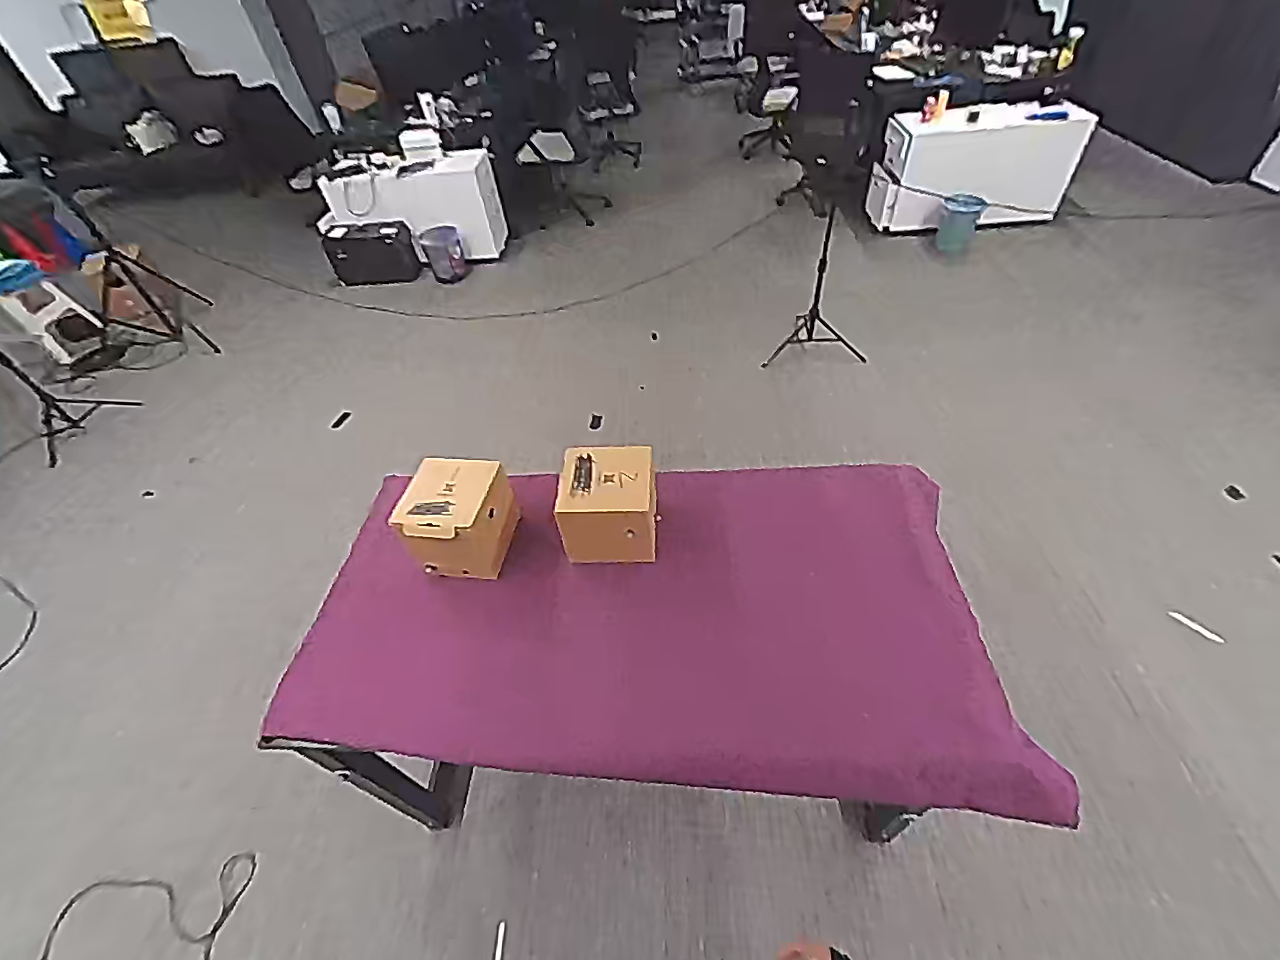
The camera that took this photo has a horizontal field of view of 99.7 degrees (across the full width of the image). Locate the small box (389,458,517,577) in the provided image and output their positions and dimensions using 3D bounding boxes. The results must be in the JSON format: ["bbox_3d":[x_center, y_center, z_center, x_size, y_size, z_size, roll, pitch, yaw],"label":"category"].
[{"bbox_3d":[-0.362,0.078,1.088,0.168,0.176,0.179,3,48,9],"label":"small box"}]
